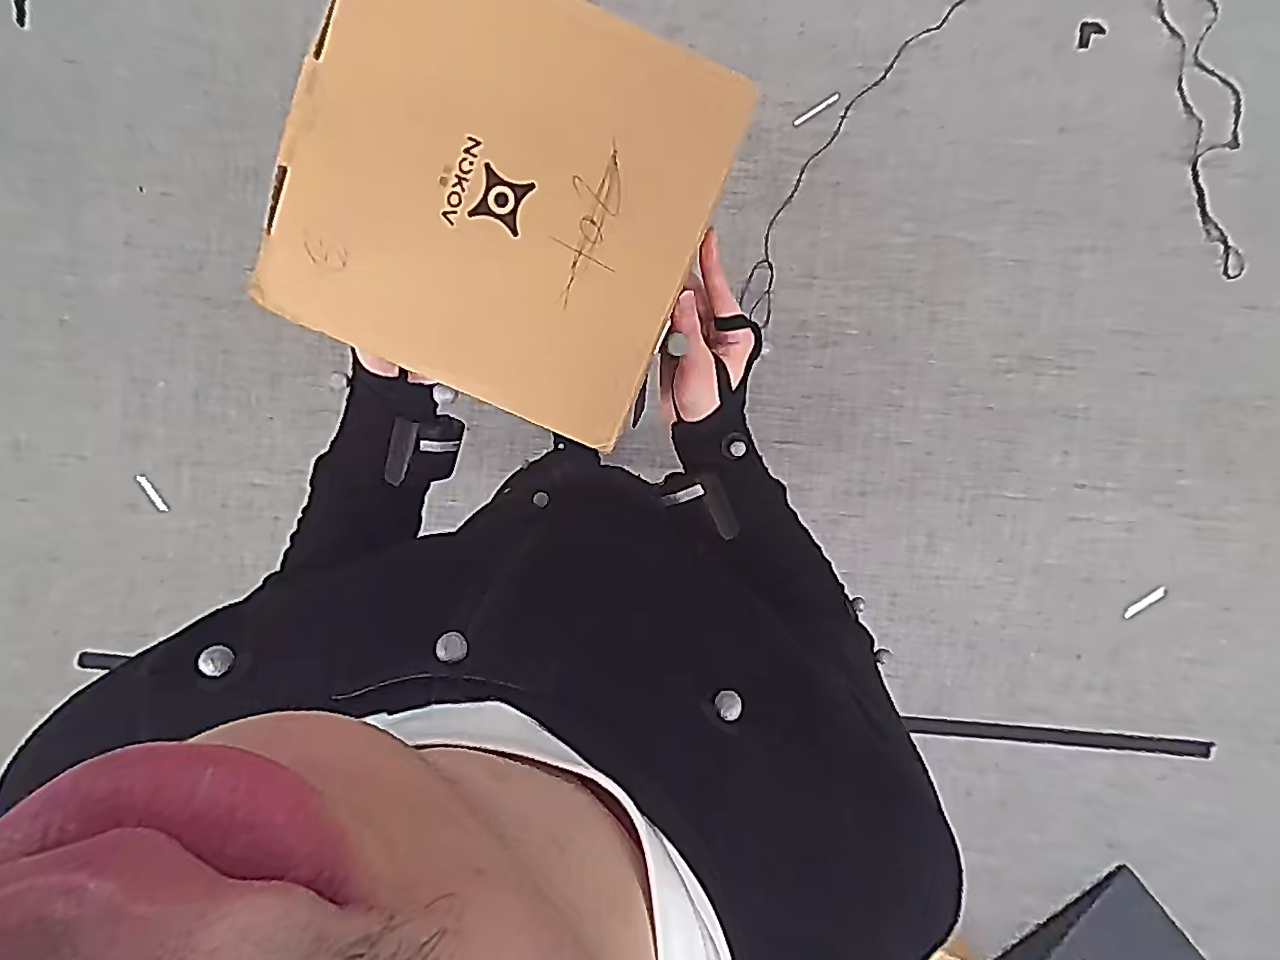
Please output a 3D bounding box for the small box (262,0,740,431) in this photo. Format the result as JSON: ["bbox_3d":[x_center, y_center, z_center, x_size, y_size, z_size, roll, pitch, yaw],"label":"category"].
[{"bbox_3d":[-0.065,-0.140,0.321,0.179,0.176,0.168,22,100,-3],"label":"small box"}]
